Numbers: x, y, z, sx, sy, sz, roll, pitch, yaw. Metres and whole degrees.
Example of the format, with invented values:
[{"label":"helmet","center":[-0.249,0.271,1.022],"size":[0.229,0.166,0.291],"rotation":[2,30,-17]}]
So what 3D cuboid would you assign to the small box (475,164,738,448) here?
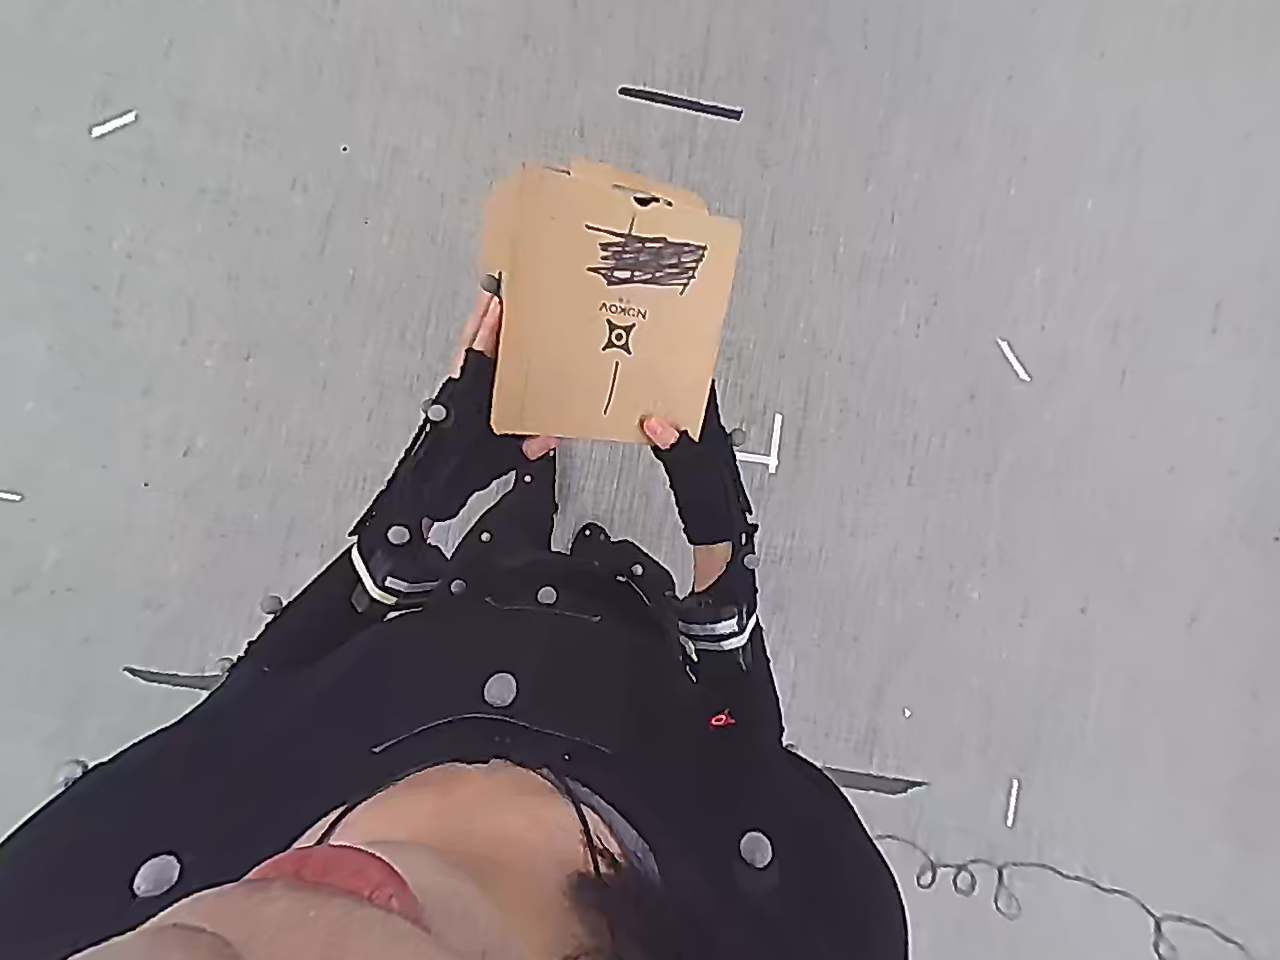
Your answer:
[{"label":"small box","center":[-0.044,-0.138,0.465],"size":[0.168,0.176,0.179],"rotation":[4,107,-24]}]
